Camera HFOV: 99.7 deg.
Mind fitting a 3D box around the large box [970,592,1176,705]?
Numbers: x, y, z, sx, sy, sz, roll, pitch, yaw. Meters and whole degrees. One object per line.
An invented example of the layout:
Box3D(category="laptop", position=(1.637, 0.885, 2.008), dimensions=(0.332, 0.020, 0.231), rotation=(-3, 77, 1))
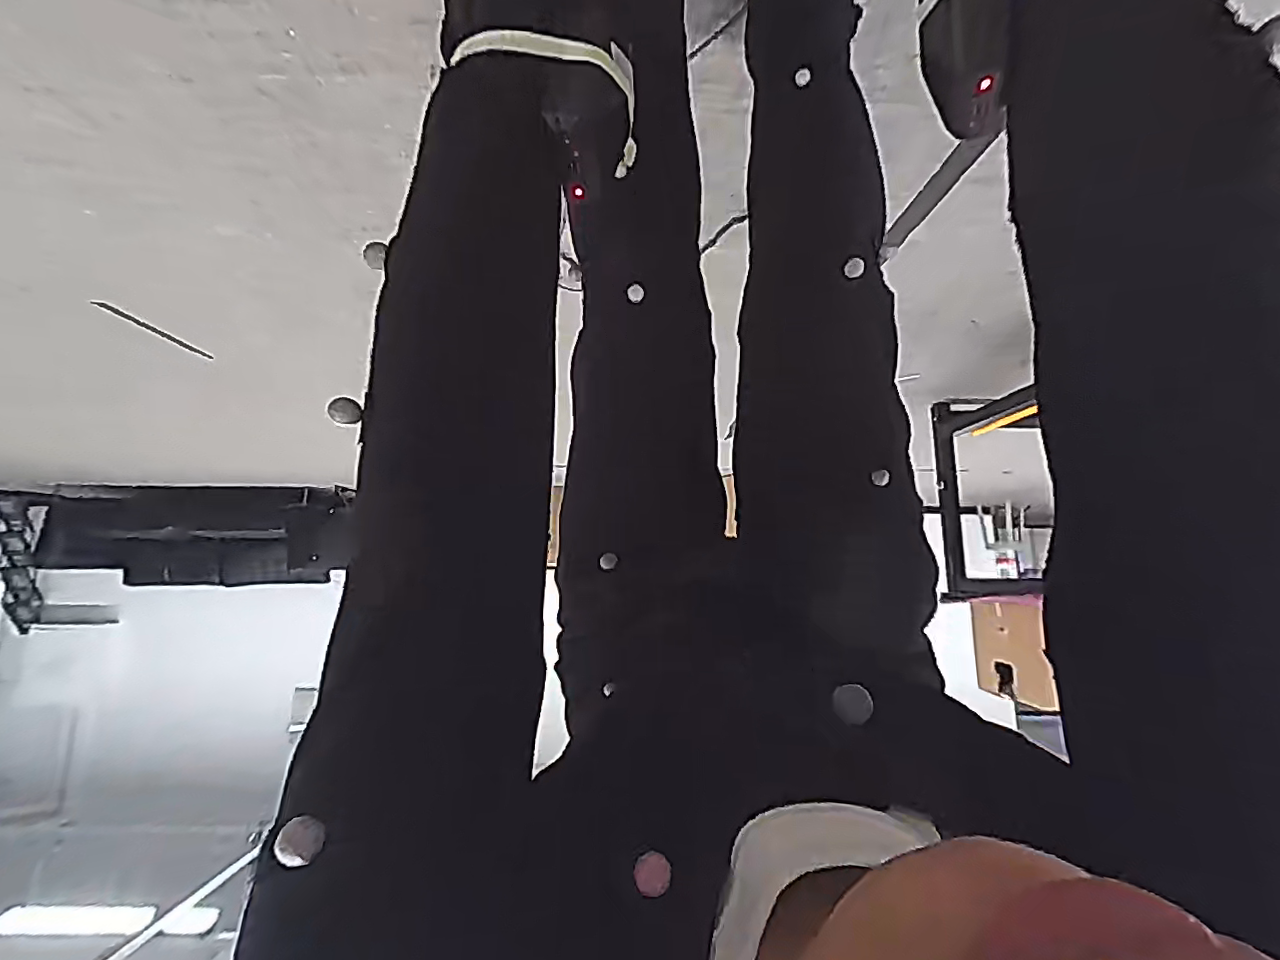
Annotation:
Box3D(category="large box", position=(1.379, 0.534, 1.763), dimensions=(0.408, 0.320, 0.320), rotation=(-1, 171, -1))
